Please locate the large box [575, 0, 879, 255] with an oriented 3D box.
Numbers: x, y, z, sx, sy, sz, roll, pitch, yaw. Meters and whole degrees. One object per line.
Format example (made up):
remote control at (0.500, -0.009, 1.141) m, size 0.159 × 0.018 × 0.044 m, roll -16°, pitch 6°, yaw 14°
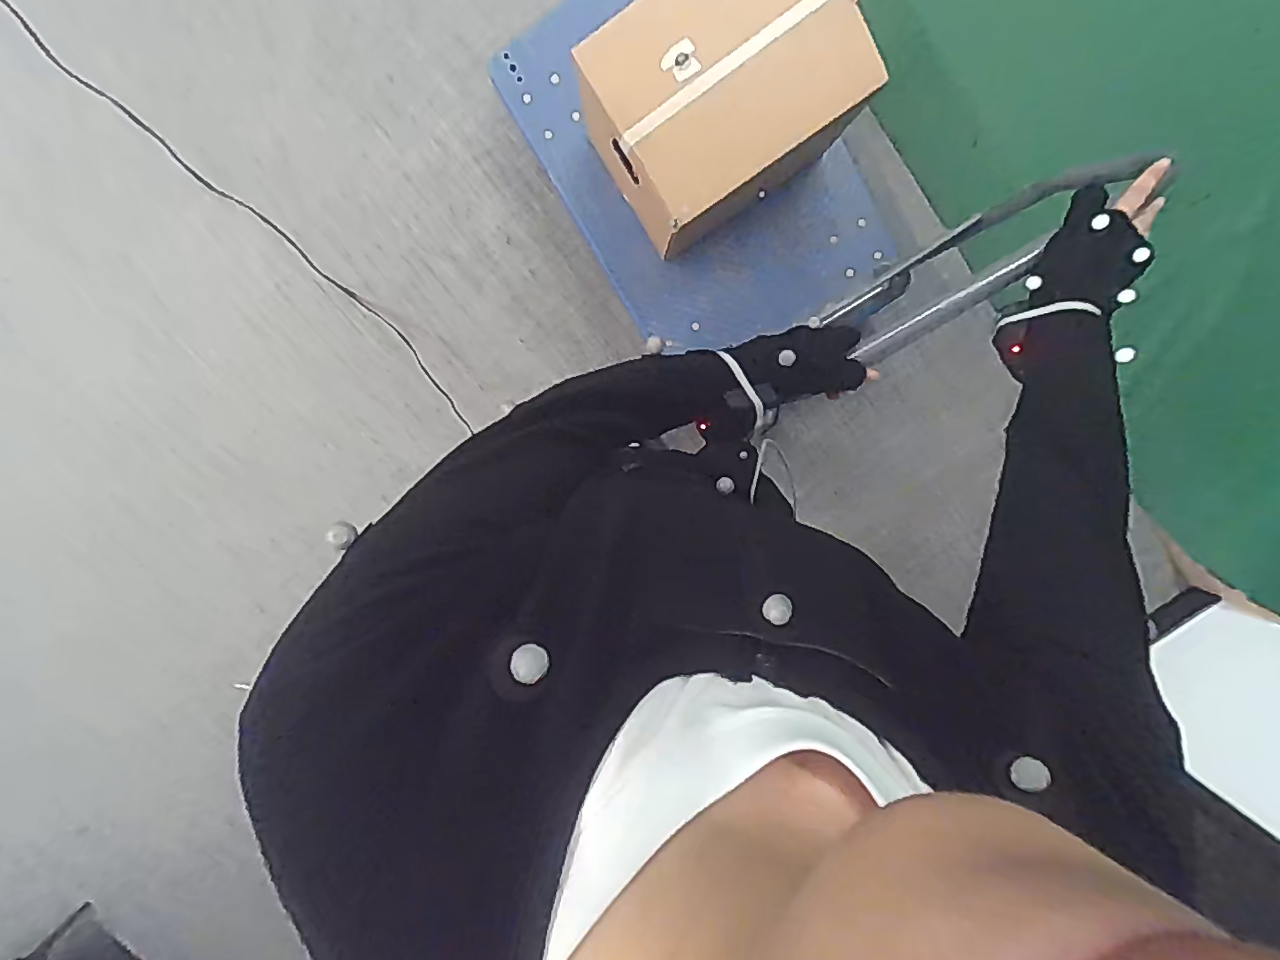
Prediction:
large box at (0.140, -0.694, 1.008) m, size 0.408 × 0.320 × 0.320 m, roll -34°, pitch 100°, yaw 7°
